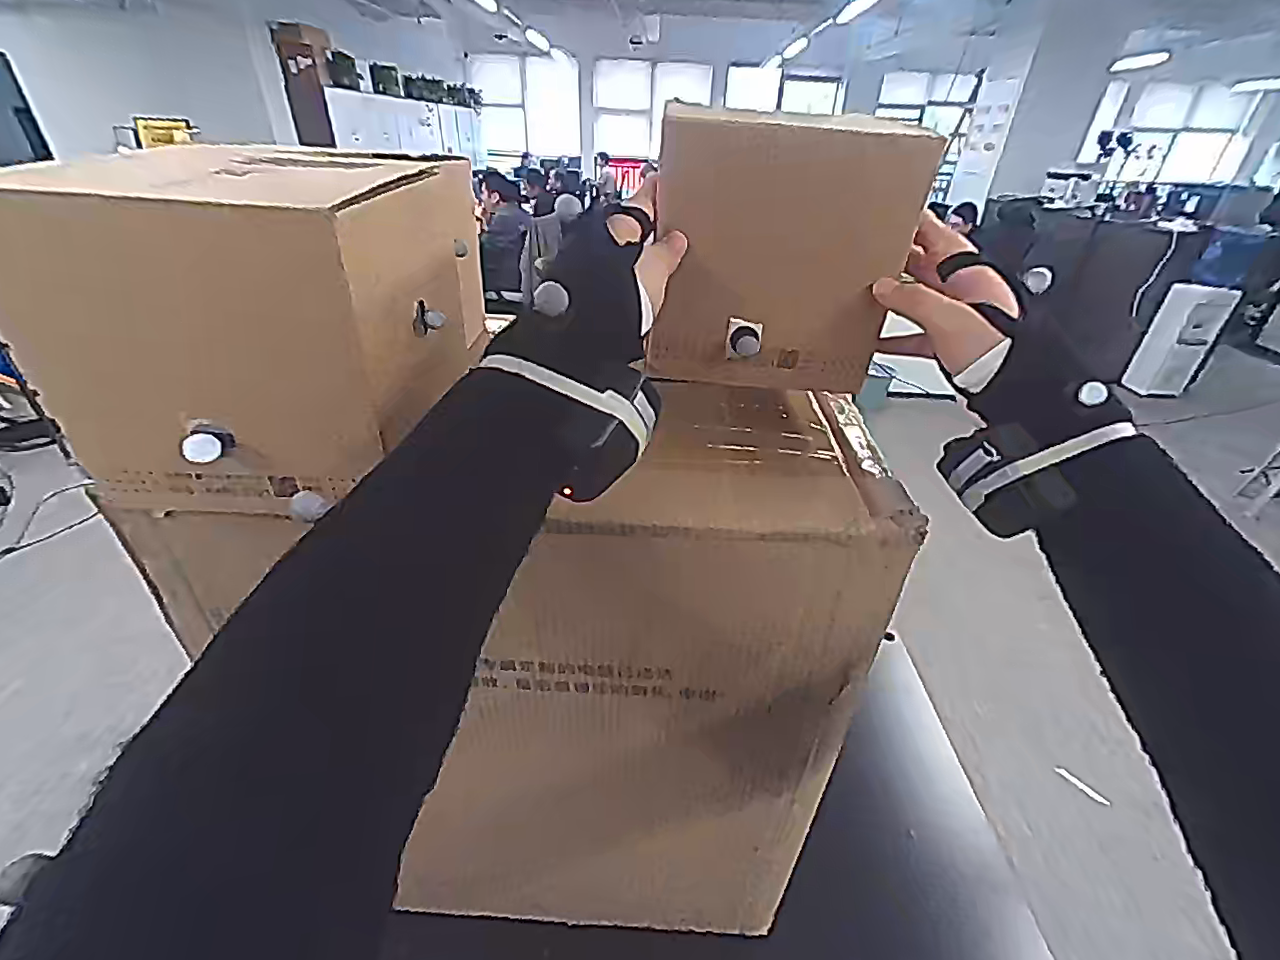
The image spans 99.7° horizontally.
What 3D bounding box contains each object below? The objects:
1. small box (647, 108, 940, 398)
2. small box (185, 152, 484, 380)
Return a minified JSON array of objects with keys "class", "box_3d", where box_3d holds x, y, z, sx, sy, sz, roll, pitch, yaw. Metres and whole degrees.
[{"class":"small box","box_3d":[0.093,-0.183,0.428,0.168,0.176,0.179,3,37,0]},{"class":"small box","box_3d":[-0.247,-0.199,0.497,0.168,0.176,0.179,1,32,-4]}]
